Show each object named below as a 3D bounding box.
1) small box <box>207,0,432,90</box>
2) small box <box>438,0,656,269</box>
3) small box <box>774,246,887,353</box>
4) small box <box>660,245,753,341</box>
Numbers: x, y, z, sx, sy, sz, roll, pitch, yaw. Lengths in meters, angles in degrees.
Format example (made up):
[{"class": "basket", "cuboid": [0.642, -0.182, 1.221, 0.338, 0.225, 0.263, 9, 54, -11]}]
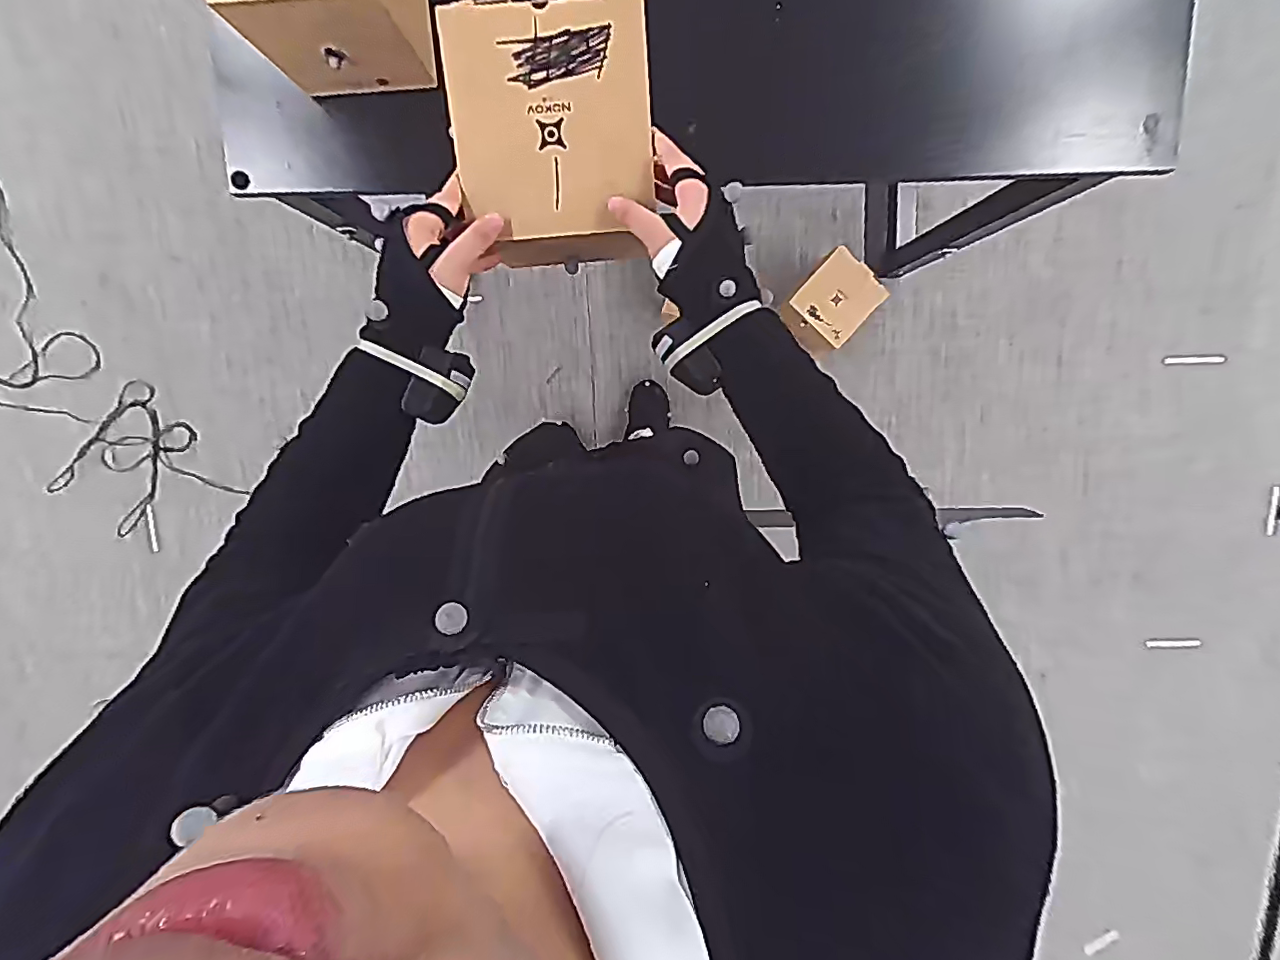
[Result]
[{"class": "small box", "cuboid": [-0.341, -0.556, 0.585, 0.168, 0.176, 0.179, -4, 99, 0]}, {"class": "small box", "cuboid": [-0.075, -0.311, 0.522, 0.168, 0.176, 0.179, -4, 105, 1]}, {"class": "small box", "cuboid": [0.460, -0.437, 1.338, 0.168, 0.176, 0.179, 42, 97, -6]}, {"class": "small box", "cuboid": [0.157, -0.453, 1.340, 0.179, 0.176, 0.168, 19, 98, -2]}]
